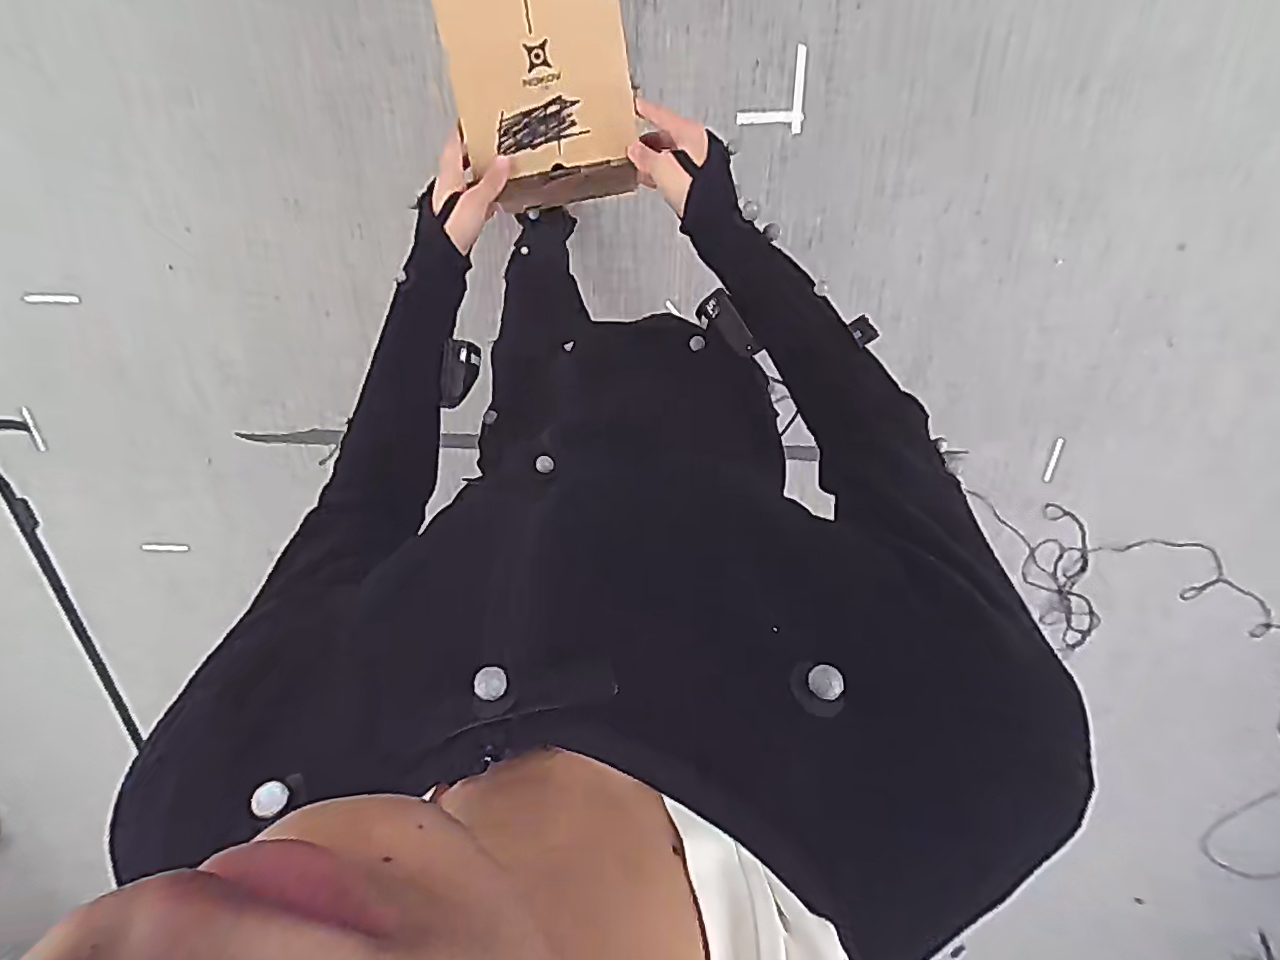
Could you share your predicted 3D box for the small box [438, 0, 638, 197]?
[{"bbox_3d":[-0.093,-0.412,0.571,0.168,0.176,0.179,-9,108,1],"label":"small box"}]
